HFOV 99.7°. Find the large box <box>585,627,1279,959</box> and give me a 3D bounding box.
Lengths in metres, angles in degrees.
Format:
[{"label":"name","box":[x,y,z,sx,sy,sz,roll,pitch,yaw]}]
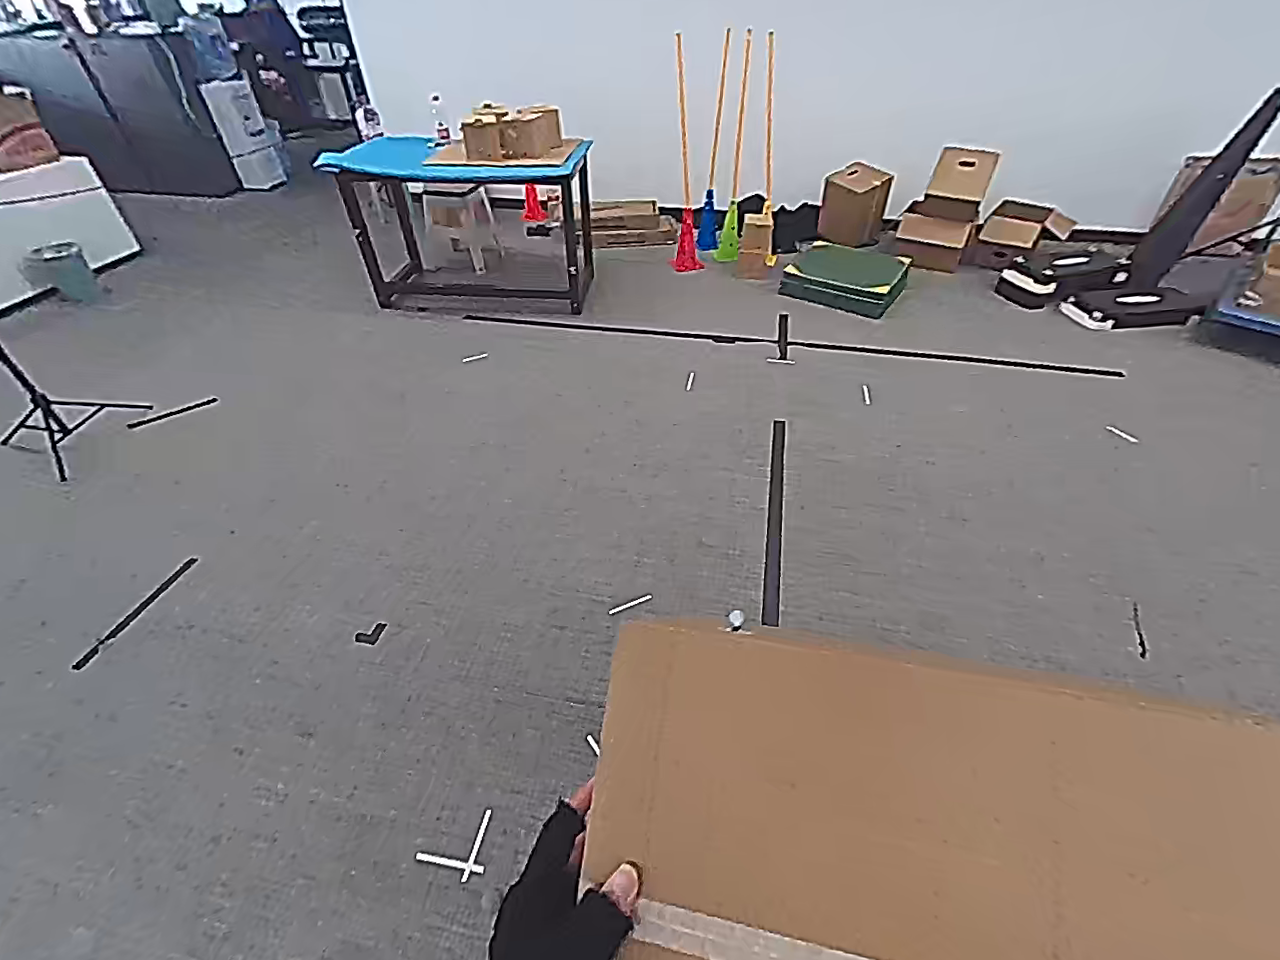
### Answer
[{"label":"large box","box":[0.193,0.298,0.419,0.408,0.320,0.320,6,79,14]}]
